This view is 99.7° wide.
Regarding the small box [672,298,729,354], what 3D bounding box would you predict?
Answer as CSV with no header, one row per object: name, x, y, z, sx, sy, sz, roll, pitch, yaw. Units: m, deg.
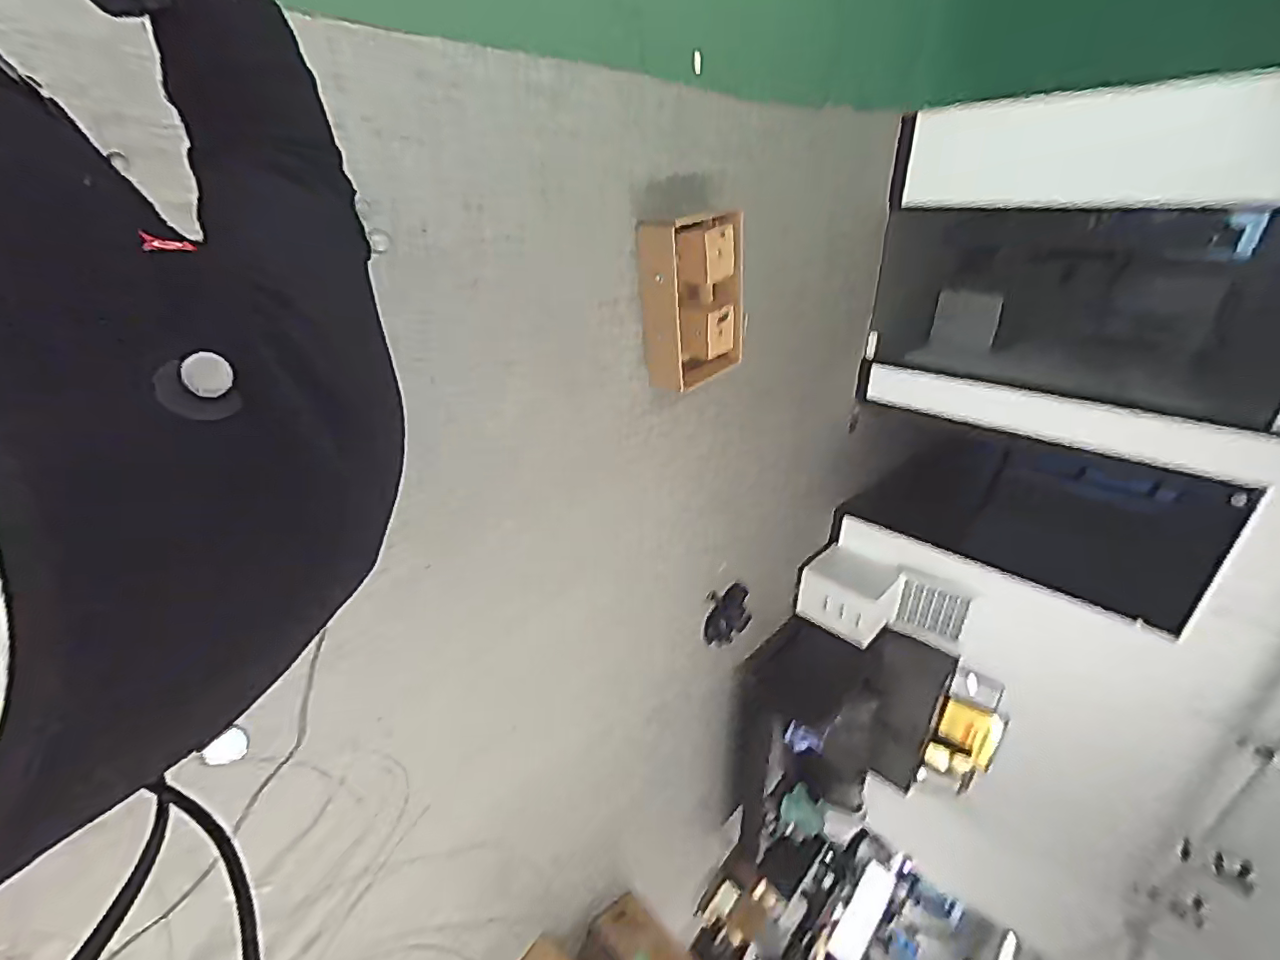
small box,0.240,-0.620,2.153,0.168,0.176,0.179,-32,131,-36

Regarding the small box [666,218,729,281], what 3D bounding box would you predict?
small box,0.213,-0.856,2.001,0.168,0.176,0.179,-36,134,-34
